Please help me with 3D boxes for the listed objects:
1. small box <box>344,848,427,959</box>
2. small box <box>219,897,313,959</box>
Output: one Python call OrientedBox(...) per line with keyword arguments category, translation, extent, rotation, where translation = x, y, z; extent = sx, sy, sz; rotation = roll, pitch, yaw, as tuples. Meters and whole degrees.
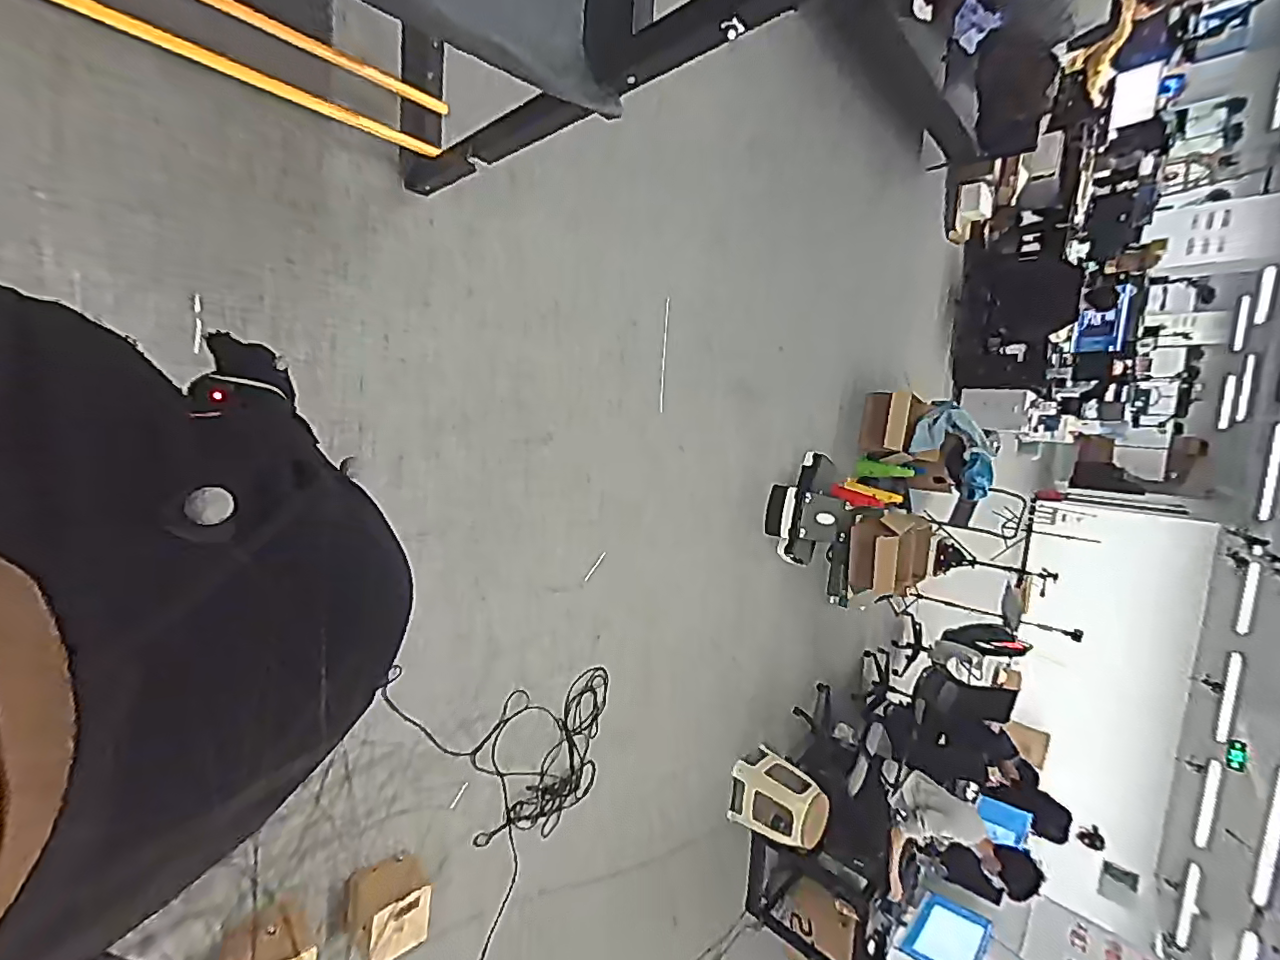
OrientedBox(category="small box", translation=(-0.740, 1.216, 1.569), extent=(0.168, 0.176, 0.179), rotation=(2, 96, -48))
OrientedBox(category="small box", translation=(-0.937, 1.215, 1.355), extent=(0.168, 0.176, 0.179), rotation=(-5, 100, -47))
